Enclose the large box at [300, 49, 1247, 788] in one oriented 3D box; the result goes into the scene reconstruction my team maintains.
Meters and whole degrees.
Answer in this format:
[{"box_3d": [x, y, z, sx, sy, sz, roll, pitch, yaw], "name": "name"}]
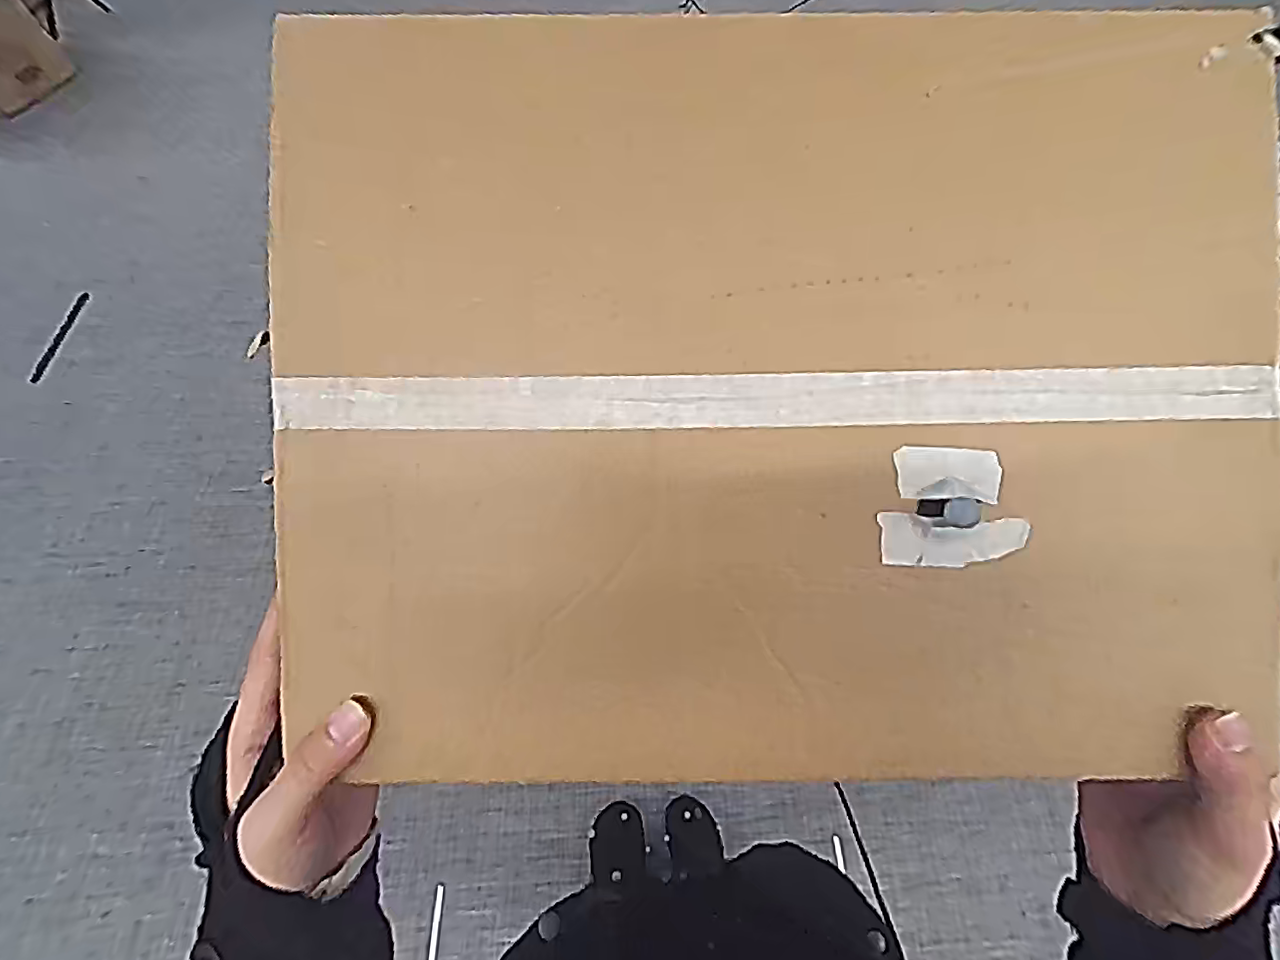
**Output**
[{"box_3d": [0.053, -0.028, 0.379, 0.408, 0.320, 0.320, -1, 91, -1], "name": "large box"}]
